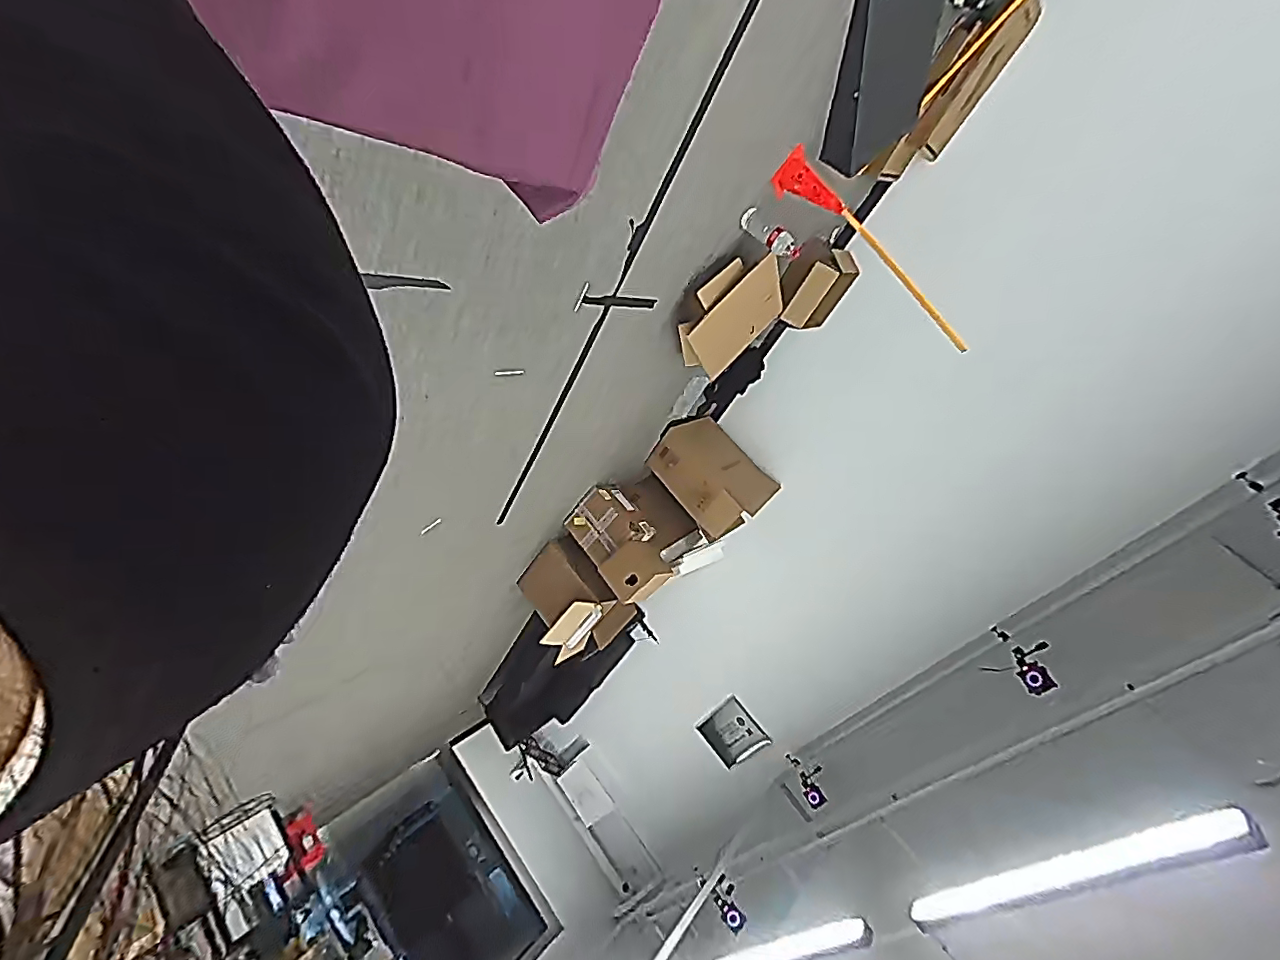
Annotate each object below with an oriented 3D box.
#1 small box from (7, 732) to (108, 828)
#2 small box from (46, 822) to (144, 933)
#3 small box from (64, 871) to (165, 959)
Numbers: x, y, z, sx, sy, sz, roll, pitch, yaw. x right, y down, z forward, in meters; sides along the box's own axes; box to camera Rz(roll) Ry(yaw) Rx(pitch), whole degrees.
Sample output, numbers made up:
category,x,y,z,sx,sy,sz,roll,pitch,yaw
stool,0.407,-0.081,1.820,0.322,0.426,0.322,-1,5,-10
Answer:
category,x,y,z,sx,sy,sz,roll,pitch,yaw
small box,-1.805,0.925,1.680,0.179,0.176,0.168,-19,149,-49
small box,-1.593,1.155,1.579,0.179,0.176,0.168,-17,149,-52
small box,-1.488,1.269,1.528,0.179,0.176,0.168,-17,148,-53
